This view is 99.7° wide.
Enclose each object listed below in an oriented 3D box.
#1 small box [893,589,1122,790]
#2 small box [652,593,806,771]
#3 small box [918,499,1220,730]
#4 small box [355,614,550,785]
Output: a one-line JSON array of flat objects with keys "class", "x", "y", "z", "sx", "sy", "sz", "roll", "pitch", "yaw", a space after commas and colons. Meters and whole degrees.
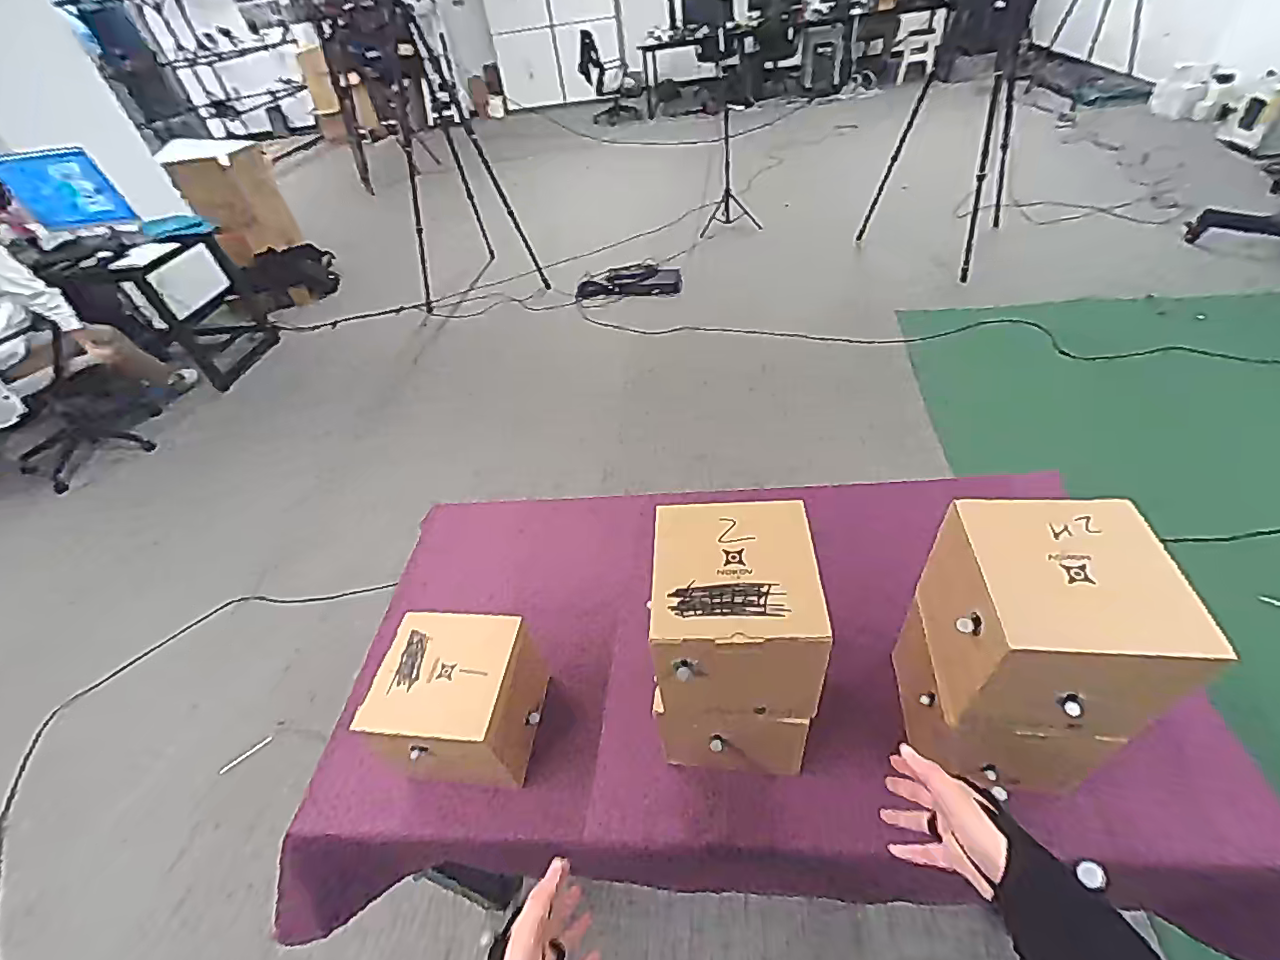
[{"class": "small box", "x": 0.429, "y": 0.256, "z": 0.673, "sx": 0.168, "sy": 0.176, "sz": 0.179, "roll": 1, "pitch": 45, "yaw": 11}, {"class": "small box", "x": 0.121, "y": 0.268, "z": 0.719, "sx": 0.179, "sy": 0.176, "sz": 0.168, "roll": -1, "pitch": 44, "yaw": 11}, {"class": "small box", "x": 0.408, "y": 0.139, "z": 0.560, "sx": 0.168, "sy": 0.176, "sz": 0.179, "roll": 0, "pitch": 44, "yaw": 10}, {"class": "small box", "x": -0.242, "y": 0.304, "z": 0.749, "sx": 0.179, "sy": 0.176, "sz": 0.168, "roll": 0, "pitch": 44, "yaw": 10}]
